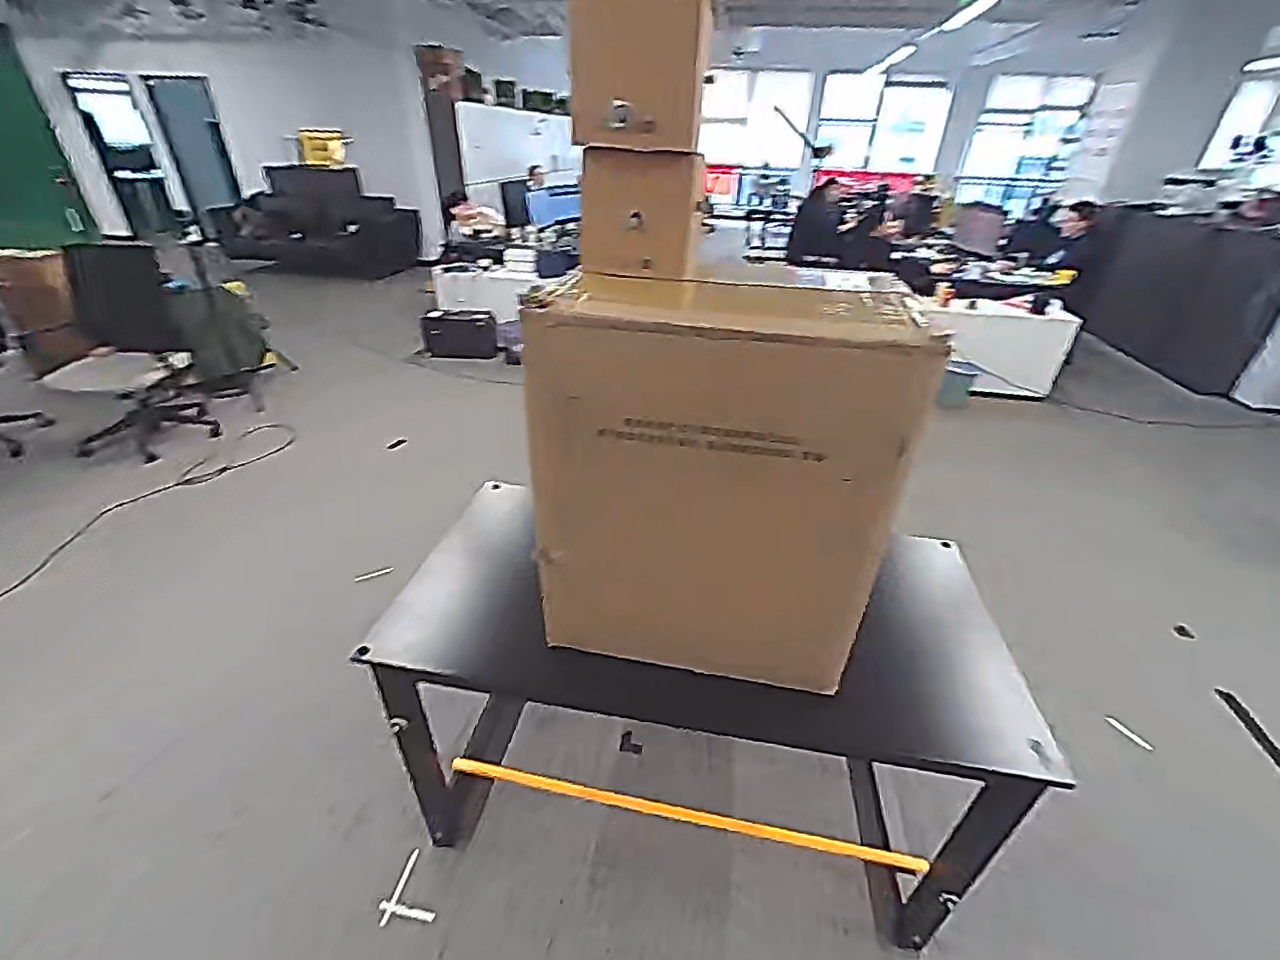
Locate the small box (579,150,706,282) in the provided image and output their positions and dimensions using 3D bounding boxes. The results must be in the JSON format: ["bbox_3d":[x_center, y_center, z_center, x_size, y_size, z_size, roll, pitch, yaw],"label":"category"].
[{"bbox_3d":[0.008,-0.416,0.846,0.168,0.176,0.179,8,32,7],"label":"small box"}]

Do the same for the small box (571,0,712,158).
[{"bbox_3d":[0.005,-0.539,0.733,0.168,0.176,0.179,5,32,6],"label":"small box"}]
